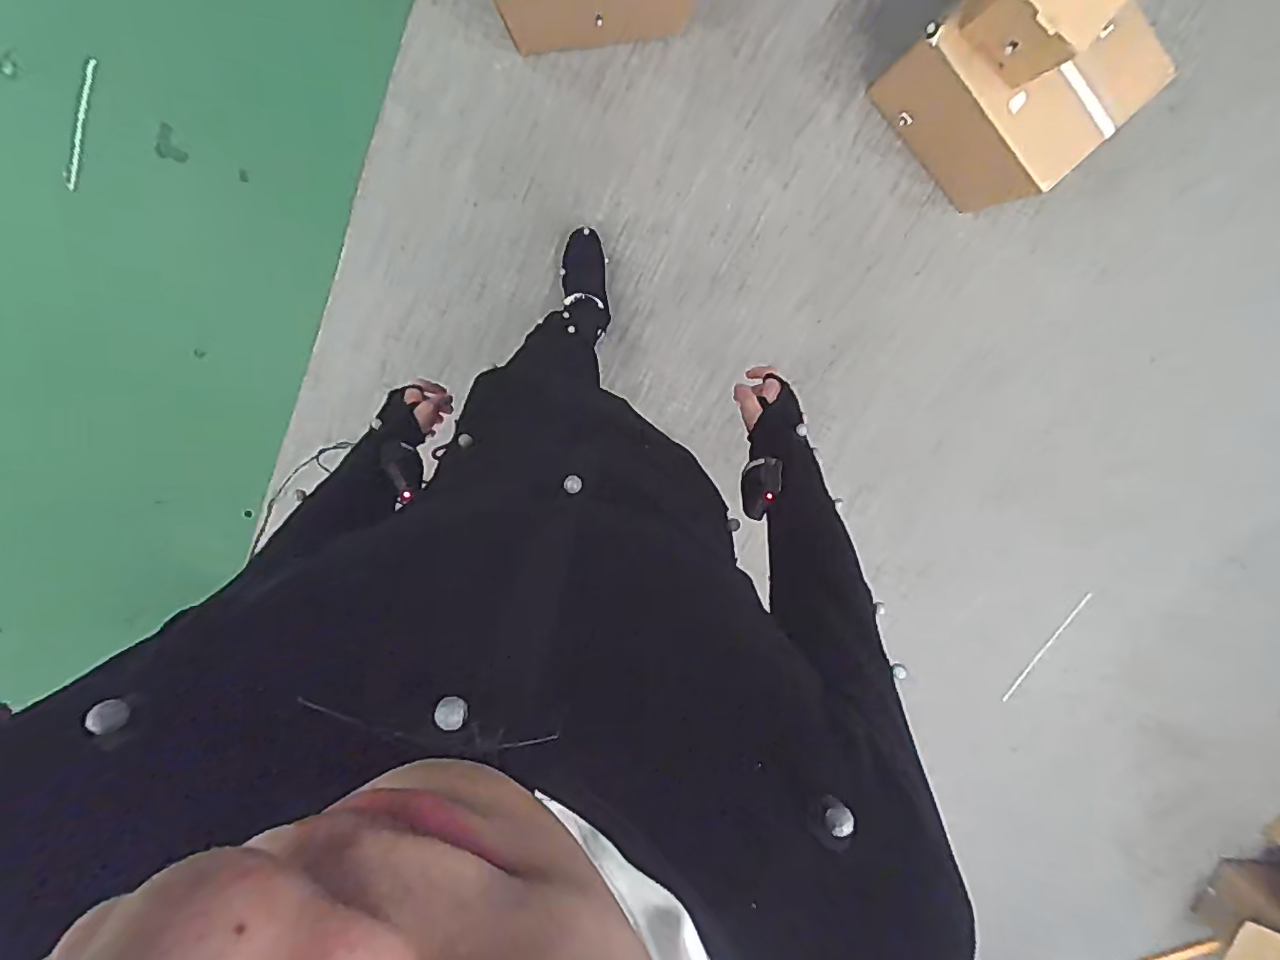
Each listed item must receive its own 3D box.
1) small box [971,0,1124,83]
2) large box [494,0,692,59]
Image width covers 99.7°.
[{"bbox_3d":[0.730,-0.857,0.957,0.168,0.176,0.179,35,106,-12],"label":"small box"},{"bbox_3d":[-0.106,-1.136,1.114,0.408,0.320,0.320,-7,107,2],"label":"large box"}]
